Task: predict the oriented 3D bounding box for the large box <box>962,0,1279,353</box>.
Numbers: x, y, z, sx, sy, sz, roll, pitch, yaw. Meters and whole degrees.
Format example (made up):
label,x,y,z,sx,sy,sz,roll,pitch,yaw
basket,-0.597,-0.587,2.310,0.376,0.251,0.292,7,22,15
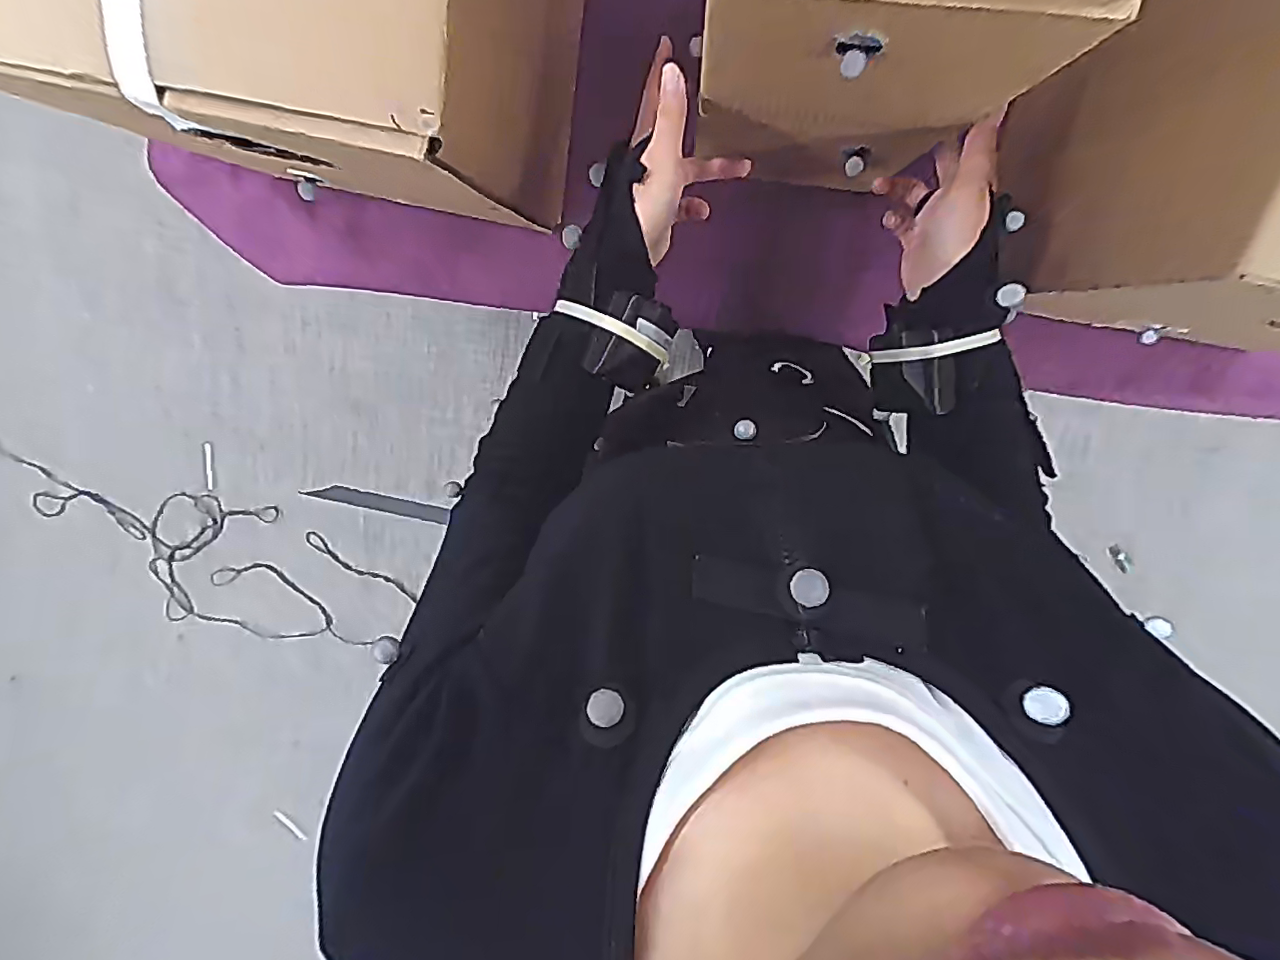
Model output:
label,x,y,z,sx,sy,sz,roll,pitch,yaw
large box,0.479,-0.296,0.336,0.320,0.320,0.408,11,107,1
